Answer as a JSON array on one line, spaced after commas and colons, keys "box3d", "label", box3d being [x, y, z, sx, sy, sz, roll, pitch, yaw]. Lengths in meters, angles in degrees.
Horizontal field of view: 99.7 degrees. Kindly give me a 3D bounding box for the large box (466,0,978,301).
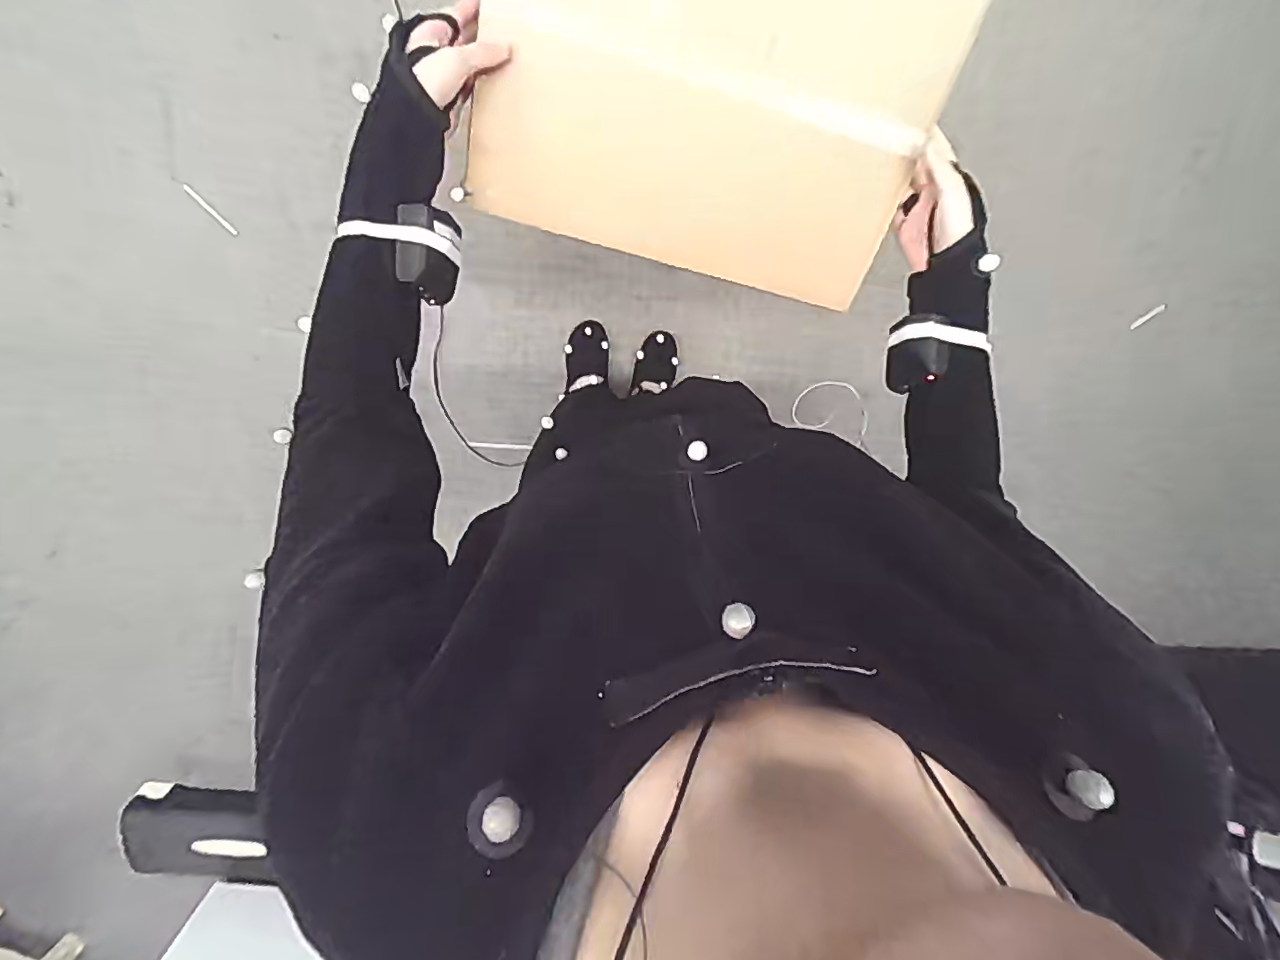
[{"box3d": [0.057, -0.431, 0.593, 0.408, 0.320, 0.320, 11, 120, -11], "label": "large box"}]
